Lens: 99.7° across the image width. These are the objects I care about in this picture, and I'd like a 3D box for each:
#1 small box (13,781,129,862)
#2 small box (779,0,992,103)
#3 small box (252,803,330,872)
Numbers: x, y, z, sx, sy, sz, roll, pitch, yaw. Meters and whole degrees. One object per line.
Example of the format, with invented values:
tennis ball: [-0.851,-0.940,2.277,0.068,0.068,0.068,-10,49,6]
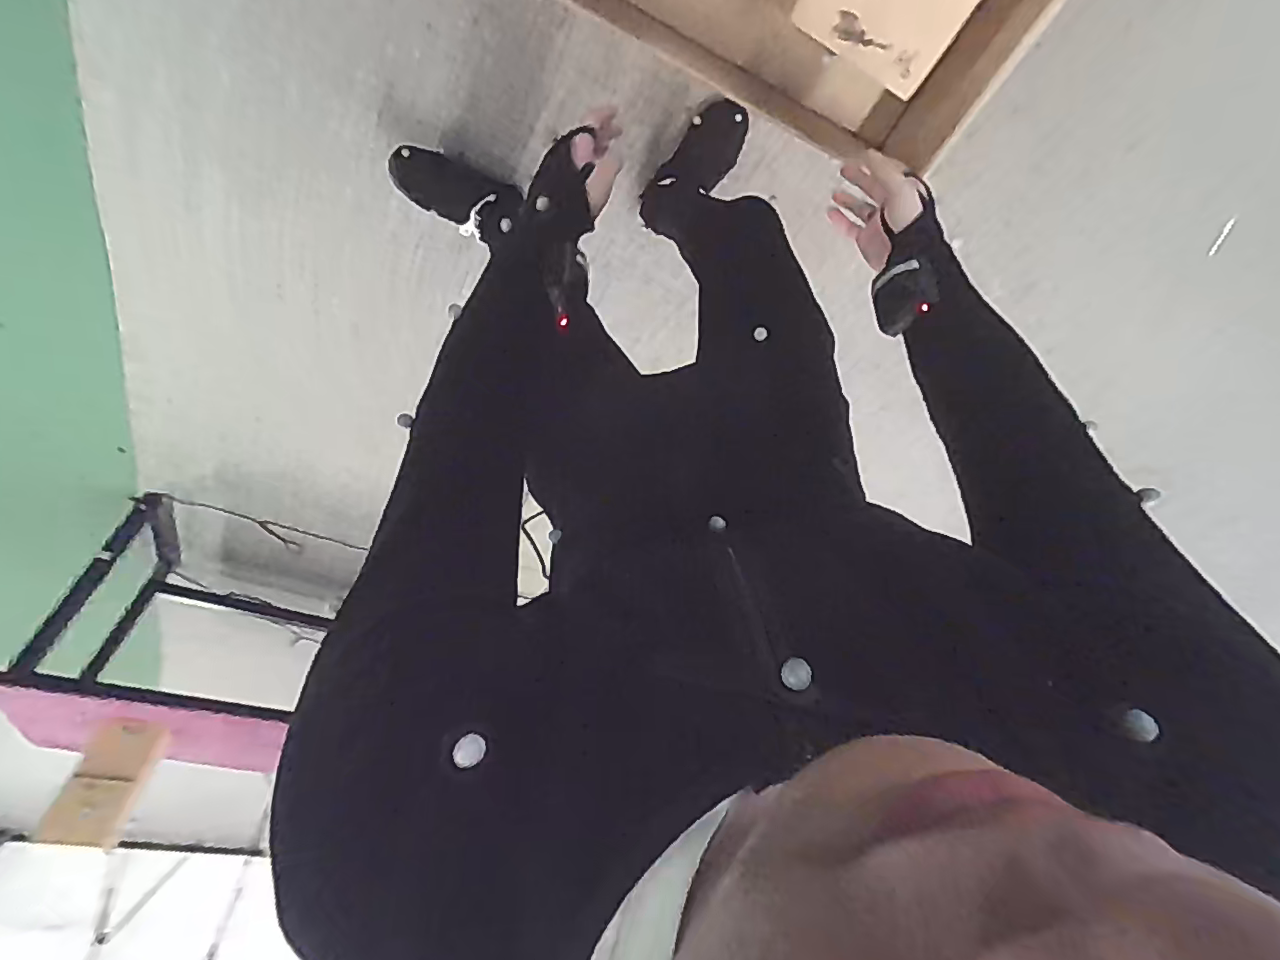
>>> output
small box: [-1.627,0.985,1.559,0.168,0.176,0.179,22,133,-22]
small box: [0.267,-0.548,0.564,0.168,0.176,0.179,19,134,-19]
small box: [-1.140,1.173,1.771,0.168,0.176,0.179,21,135,-22]
